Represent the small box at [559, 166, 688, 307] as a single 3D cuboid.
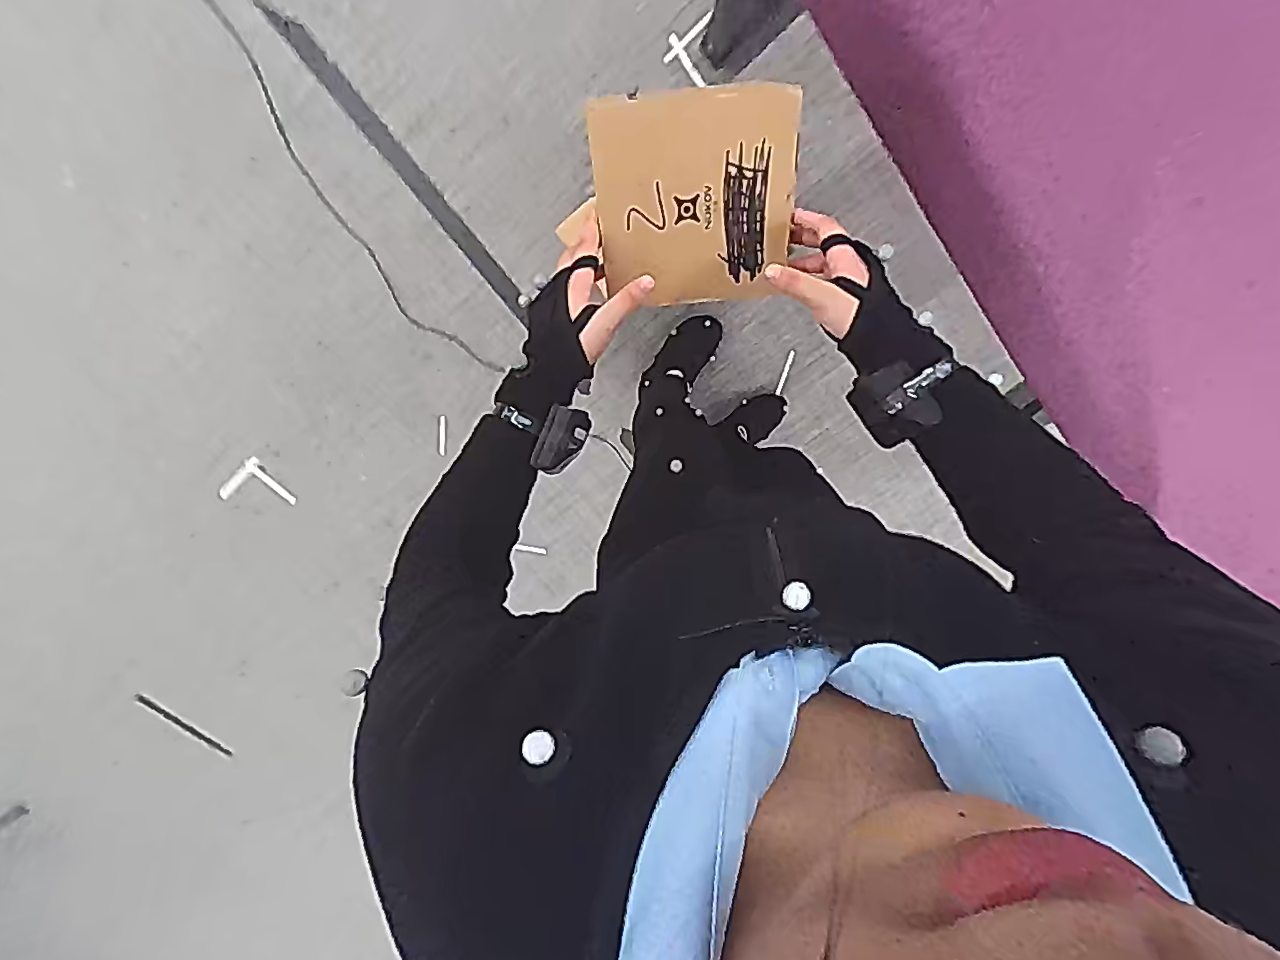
[{"bbox_3d":[-0.031,-0.458,1.028,0.179,0.176,0.168,-36,109,14],"label":"small box"}]
